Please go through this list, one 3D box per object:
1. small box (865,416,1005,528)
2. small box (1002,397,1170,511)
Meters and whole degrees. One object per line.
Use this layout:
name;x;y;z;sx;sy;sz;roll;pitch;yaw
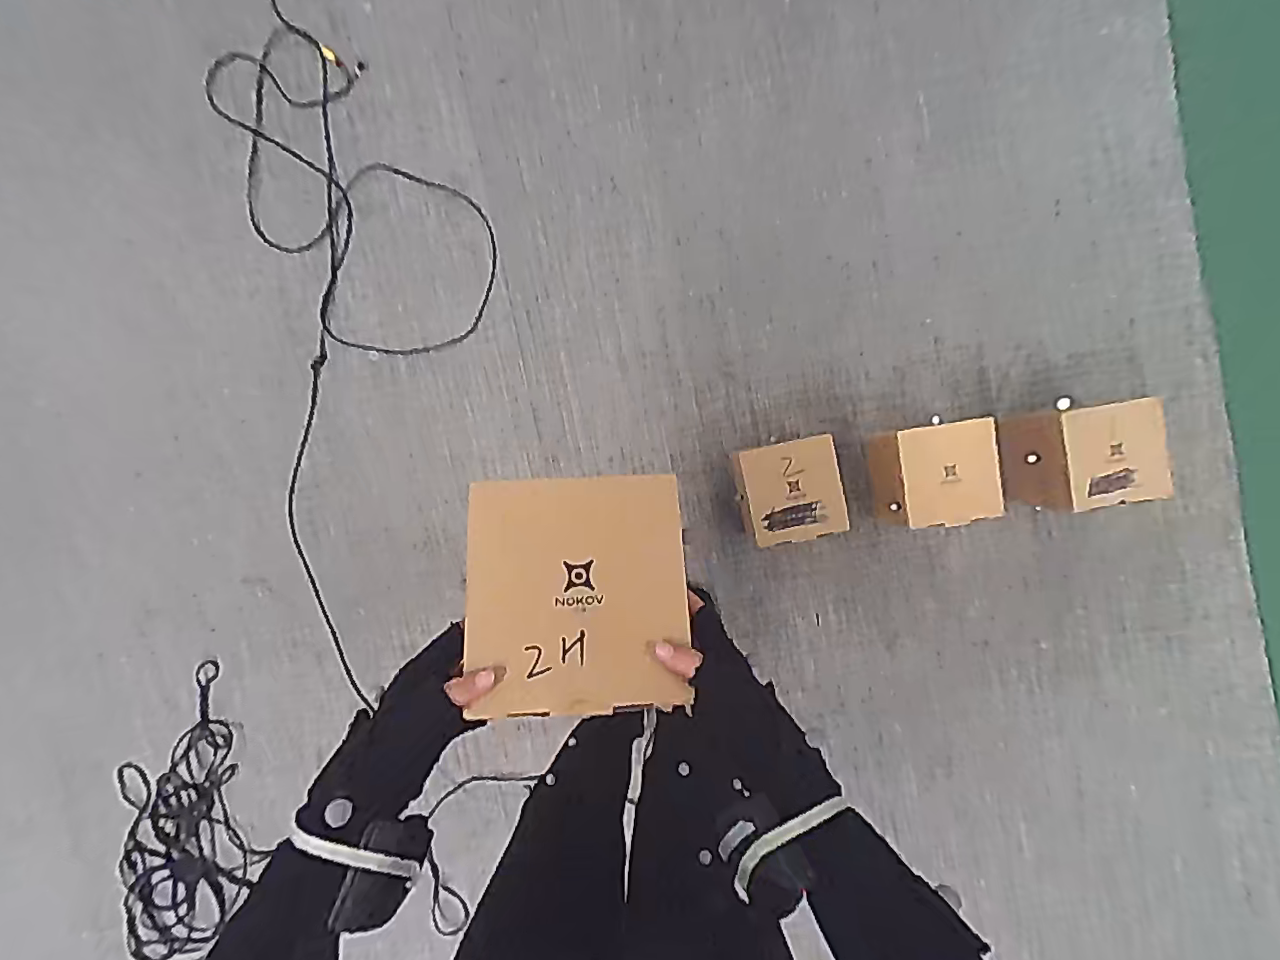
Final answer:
small box;0.539;-0.017;1.010;0.168;0.176;0.179;-9;93;3
small box;0.806;-0.048;0.993;0.168;0.176;0.179;-9;92;4
